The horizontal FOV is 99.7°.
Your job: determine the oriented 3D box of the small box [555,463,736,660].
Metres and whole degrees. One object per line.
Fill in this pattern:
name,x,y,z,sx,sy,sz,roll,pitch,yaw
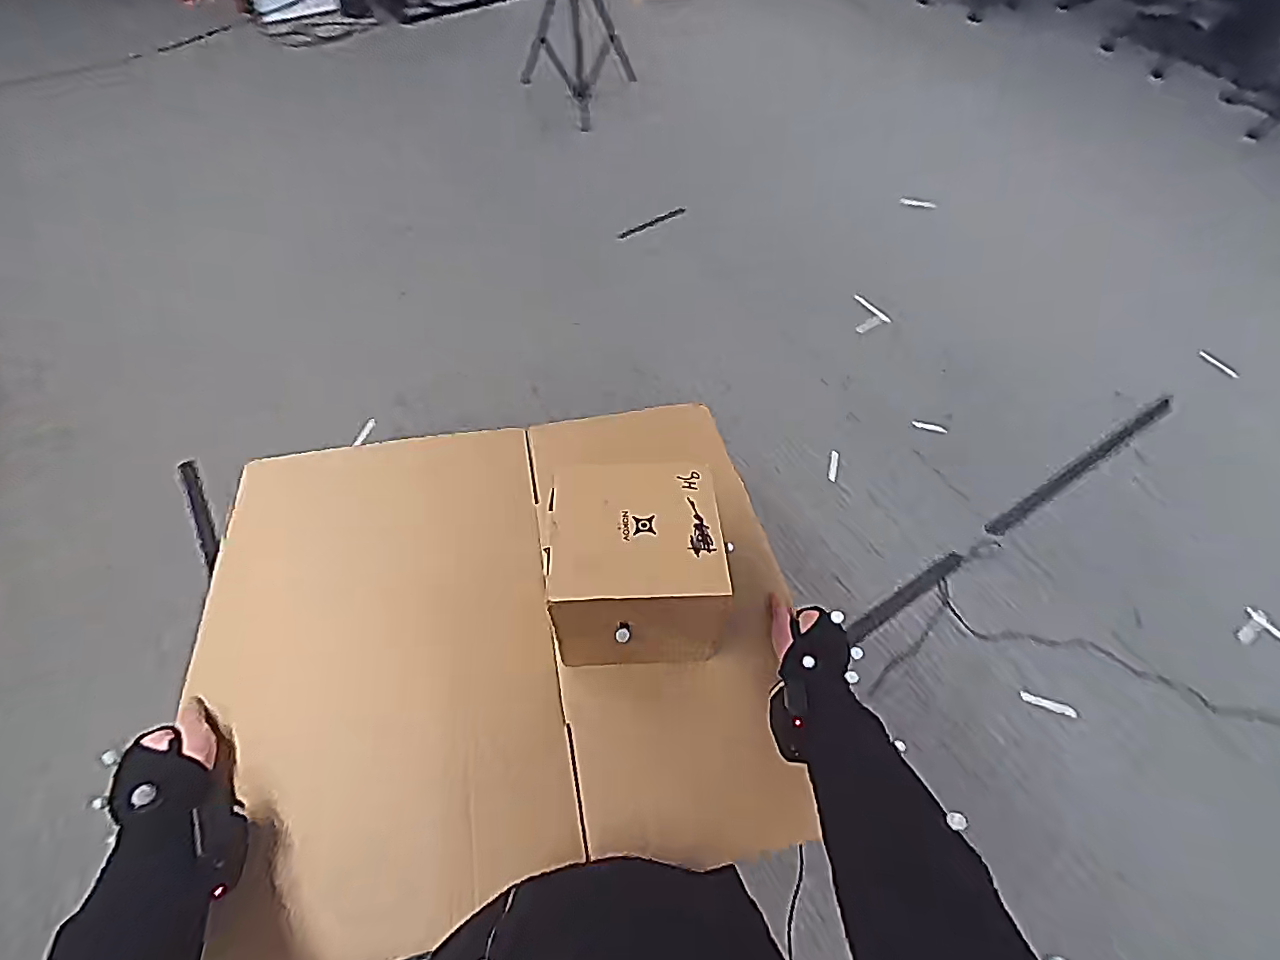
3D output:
small box,0.004,0.098,0.623,0.179,0.176,0.168,-2,52,-1
